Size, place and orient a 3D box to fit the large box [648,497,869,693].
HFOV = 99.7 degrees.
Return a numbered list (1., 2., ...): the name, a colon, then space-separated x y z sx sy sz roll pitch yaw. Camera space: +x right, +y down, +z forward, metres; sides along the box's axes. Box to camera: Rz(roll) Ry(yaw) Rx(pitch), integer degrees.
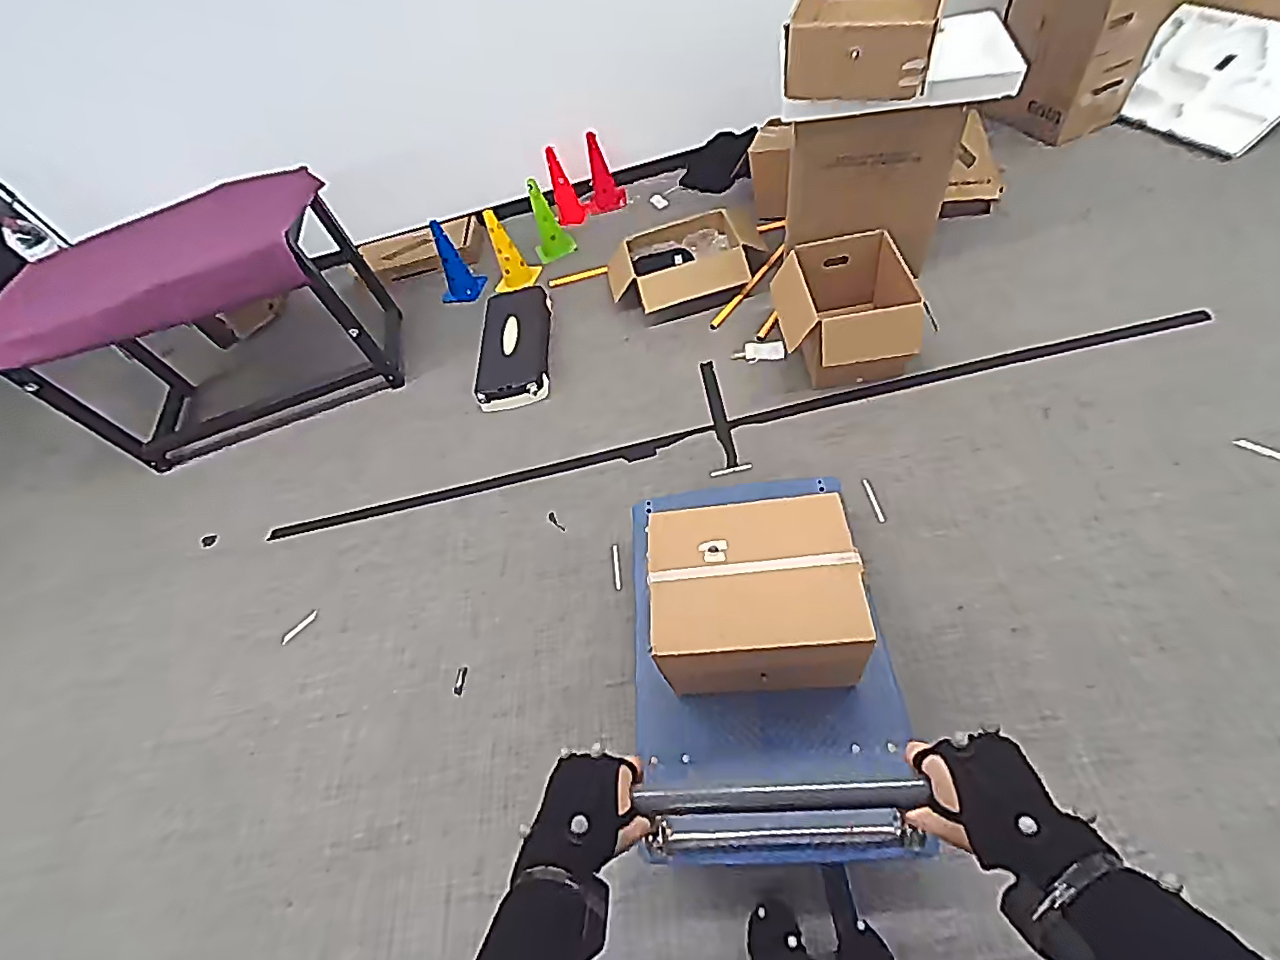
1. large box: 0.250 0.271 1.204 0.408 0.320 0.320 -8 53 10
